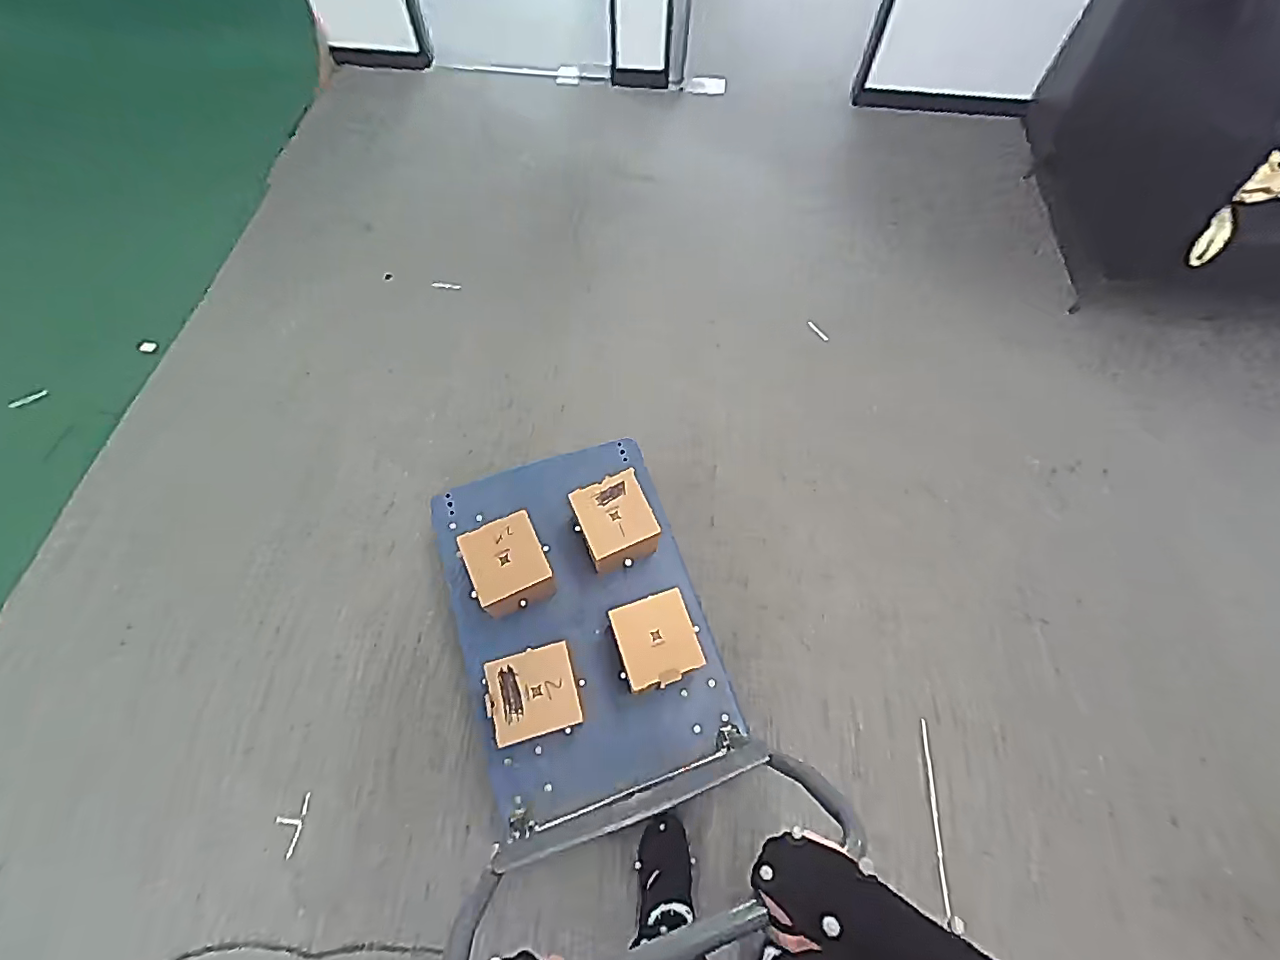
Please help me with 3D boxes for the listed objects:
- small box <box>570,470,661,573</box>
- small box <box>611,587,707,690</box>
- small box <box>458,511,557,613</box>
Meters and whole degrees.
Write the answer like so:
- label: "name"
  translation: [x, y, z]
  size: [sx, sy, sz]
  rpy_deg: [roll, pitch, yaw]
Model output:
- label: "small box"
  translation: [-0.062, 0.107, 1.327]
  size: [0.168, 0.176, 0.179]
  rpy_deg: [-23, 71, -11]
- label: "small box"
  translation: [0.034, 0.365, 1.226]
  size: [0.168, 0.176, 0.179]
  rpy_deg: [-17, 70, -9]
- label: "small box"
  translation: [-0.306, 0.202, 1.277]
  size: [0.168, 0.176, 0.179]
  rpy_deg: [-23, 70, -12]
